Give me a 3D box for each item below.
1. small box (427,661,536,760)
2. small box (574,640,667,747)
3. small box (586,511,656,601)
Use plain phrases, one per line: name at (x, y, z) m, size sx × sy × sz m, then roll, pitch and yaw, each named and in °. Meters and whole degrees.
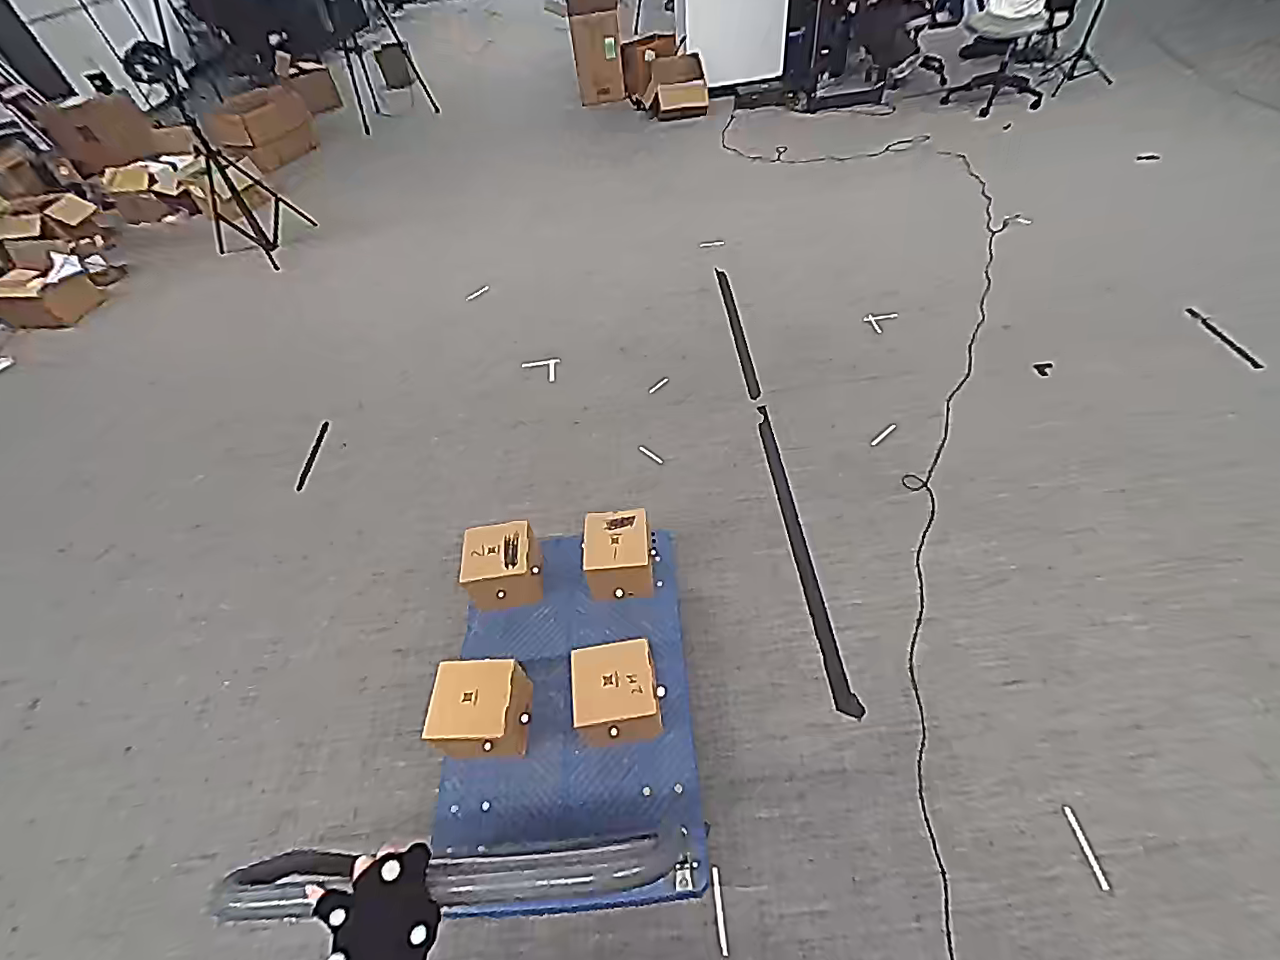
small box at (-0.349, 0.525, 1.223) m, size 0.179 × 0.176 × 0.168 m, roll -4°, pitch 49°, yaw 3°
small box at (-0.043, 0.483, 1.212) m, size 0.179 × 0.176 × 0.168 m, roll -10°, pitch 50°, yaw 1°
small box at (-0.048, 0.204, 1.448) m, size 0.168 × 0.176 × 0.179 m, roll -6°, pitch 51°, yaw 4°
